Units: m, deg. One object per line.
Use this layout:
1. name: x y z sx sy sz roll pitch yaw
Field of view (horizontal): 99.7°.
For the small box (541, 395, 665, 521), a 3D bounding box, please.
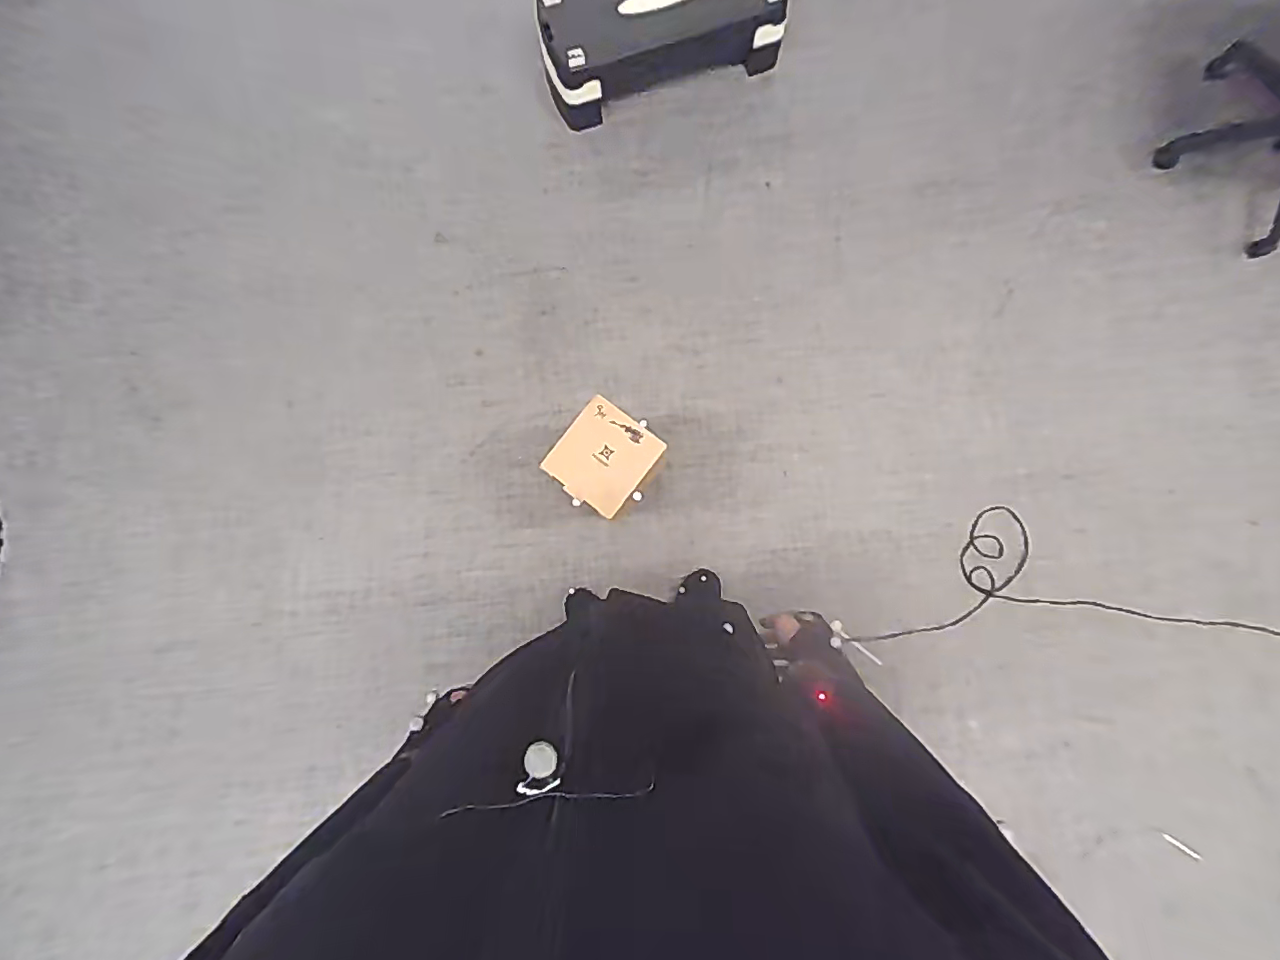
1. small box: -0.064 -0.033 1.062 0.168 0.176 0.179 38 86 4
